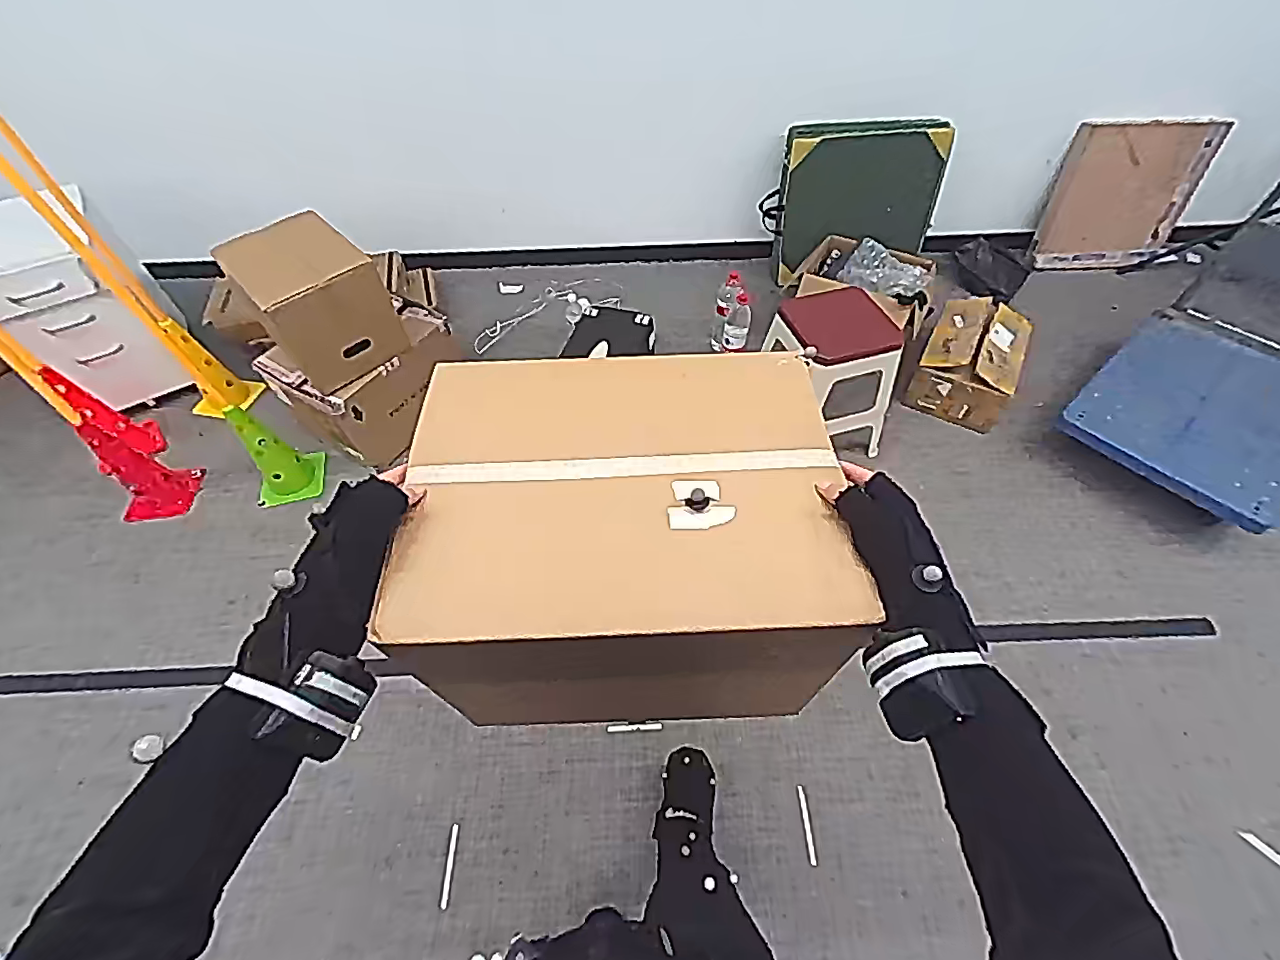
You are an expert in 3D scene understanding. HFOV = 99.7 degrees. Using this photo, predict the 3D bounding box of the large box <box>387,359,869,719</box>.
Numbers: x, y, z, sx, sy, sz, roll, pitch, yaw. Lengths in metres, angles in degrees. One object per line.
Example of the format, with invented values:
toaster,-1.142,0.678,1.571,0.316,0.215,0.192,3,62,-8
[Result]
large box,-0.014,0.080,0.644,0.408,0.320,0.320,-2,55,0
